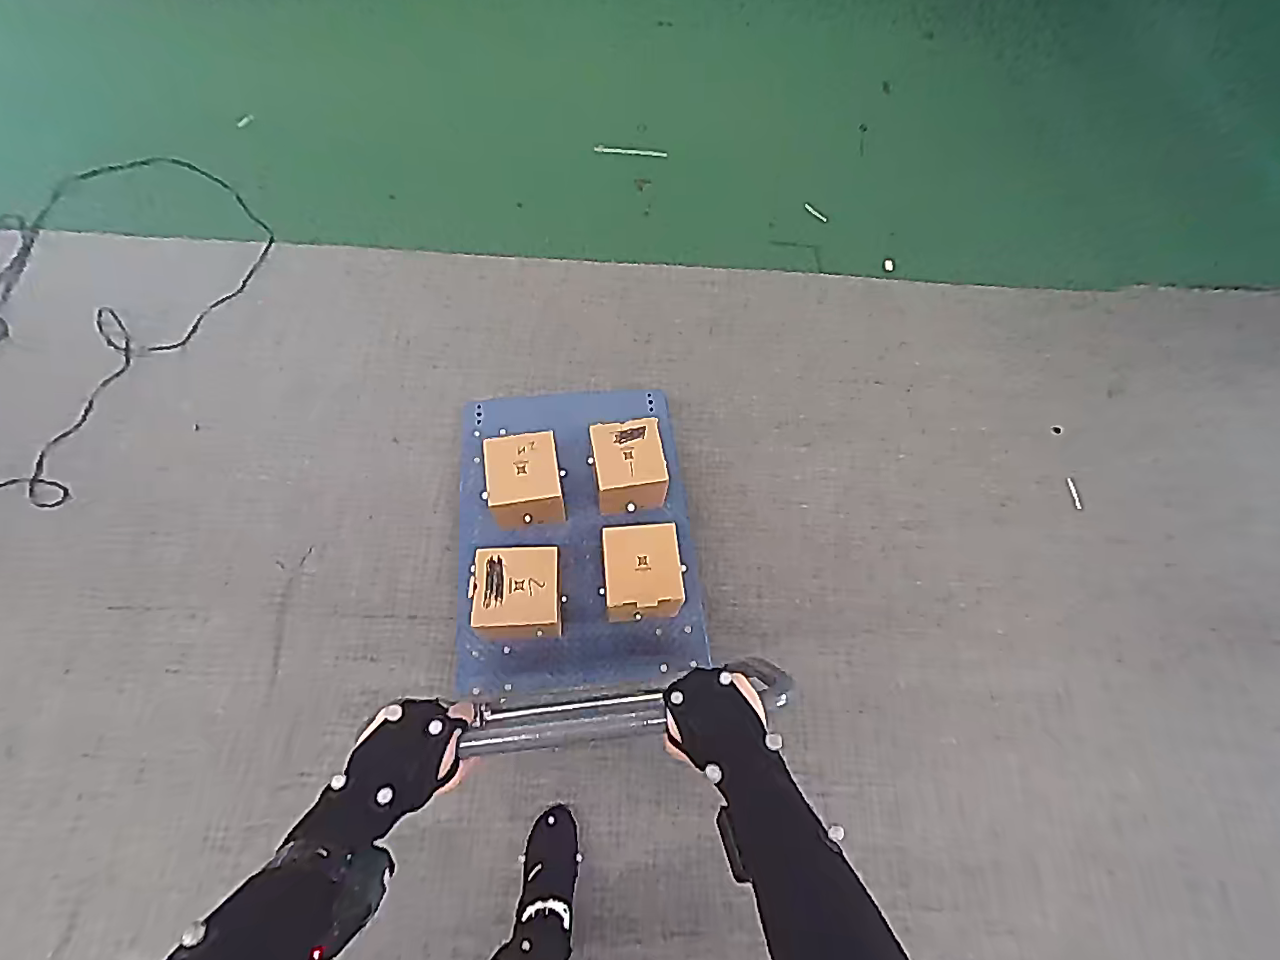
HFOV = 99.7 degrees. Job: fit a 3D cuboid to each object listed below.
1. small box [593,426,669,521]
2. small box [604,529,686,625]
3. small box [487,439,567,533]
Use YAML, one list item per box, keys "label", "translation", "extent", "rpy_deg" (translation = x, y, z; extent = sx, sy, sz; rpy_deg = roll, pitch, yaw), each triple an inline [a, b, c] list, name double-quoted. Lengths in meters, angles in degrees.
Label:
- label: "small box"
  translation: [-0.029, -0.015, 1.373]
  extent: [0.168, 0.176, 0.179]
  rpy_deg: [-8, 66, -7]
- label: "small box"
  translation: [0.004, 0.228, 1.259]
  extent: [0.168, 0.176, 0.179]
  rpy_deg: [-4, 65, -6]
- label: "small box"
  translation: [-0.276, 0.022, 1.340]
  extent: [0.168, 0.176, 0.179]
  rpy_deg: [-8, 65, -8]
